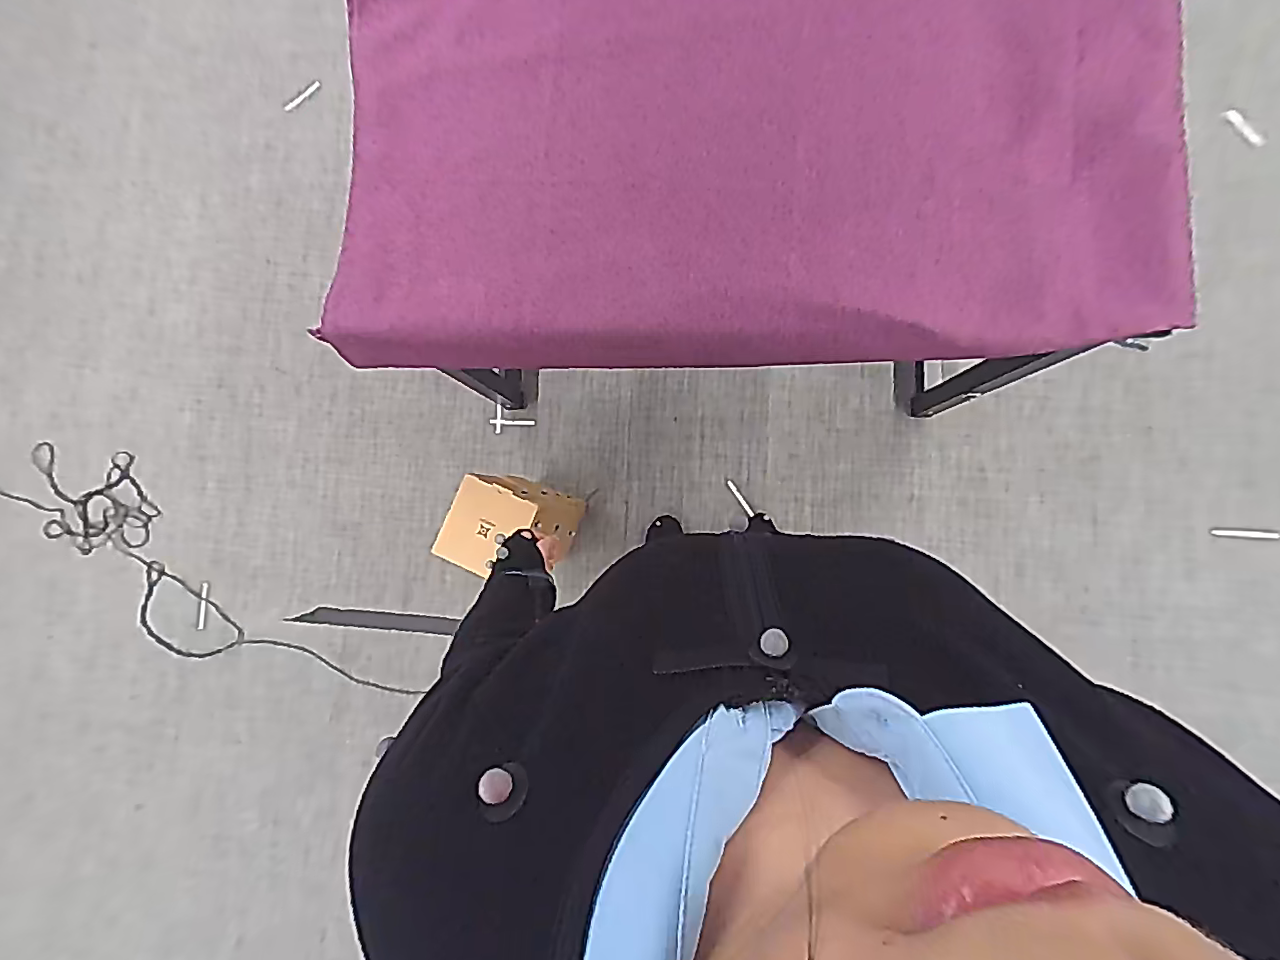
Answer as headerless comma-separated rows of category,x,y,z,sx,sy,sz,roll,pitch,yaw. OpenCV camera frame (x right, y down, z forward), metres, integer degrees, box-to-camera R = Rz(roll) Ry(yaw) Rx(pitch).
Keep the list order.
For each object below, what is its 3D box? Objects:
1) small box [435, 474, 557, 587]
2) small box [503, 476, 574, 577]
small box,-0.292,0.103,1.139,0.168,0.176,0.179,23,88,6
small box,-0.274,0.108,1.301,0.168,0.176,0.179,30,90,6
